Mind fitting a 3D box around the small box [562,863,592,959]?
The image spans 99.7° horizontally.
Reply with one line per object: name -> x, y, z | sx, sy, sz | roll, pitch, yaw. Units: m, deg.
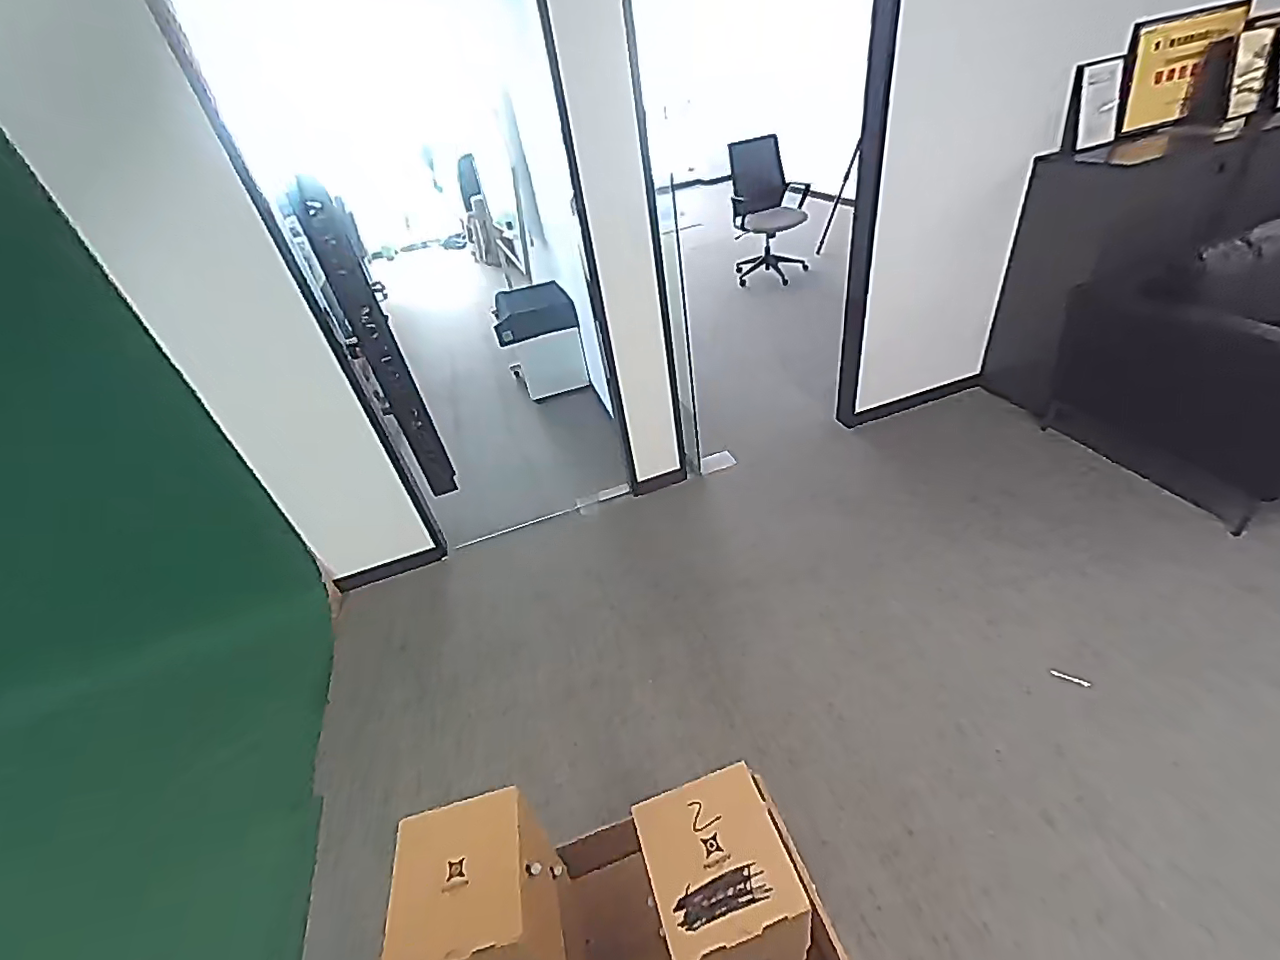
small box -> -0.181, 0.808, 0.926 | 0.168, 0.176, 0.179 | -15, 37, -7

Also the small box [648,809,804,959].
small box -> 0.122, 0.640, 0.804 | 0.168, 0.176, 0.179 | -18, 38, -9

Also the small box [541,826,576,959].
small box -> -0.201, 0.678, 0.829 | 0.168, 0.176, 0.179 | -15, 38, -5

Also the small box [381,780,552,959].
small box -> -0.221, 0.550, 0.731 | 0.168, 0.176, 0.179 | -14, 38, -5
